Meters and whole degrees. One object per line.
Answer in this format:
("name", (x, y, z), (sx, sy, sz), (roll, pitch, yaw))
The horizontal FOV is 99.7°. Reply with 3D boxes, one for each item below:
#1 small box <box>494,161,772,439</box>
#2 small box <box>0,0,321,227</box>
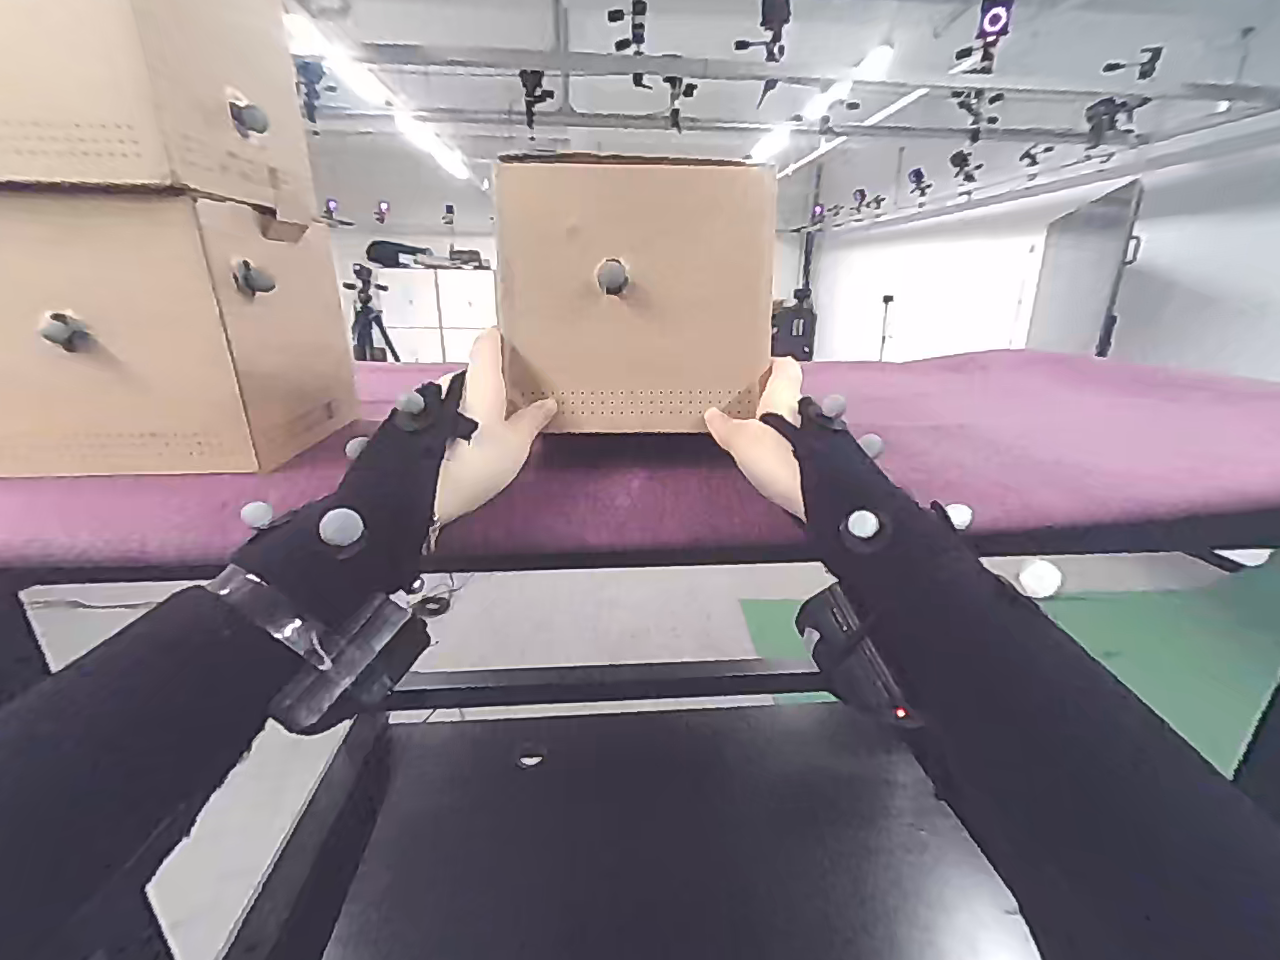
("small box", (-0.004, -0.121, 0.419), (0.179, 0.176, 0.168), (-1, 10, -2))
("small box", (-0.333, -0.258, 0.331), (0.179, 0.176, 0.168), (0, 20, -5))
